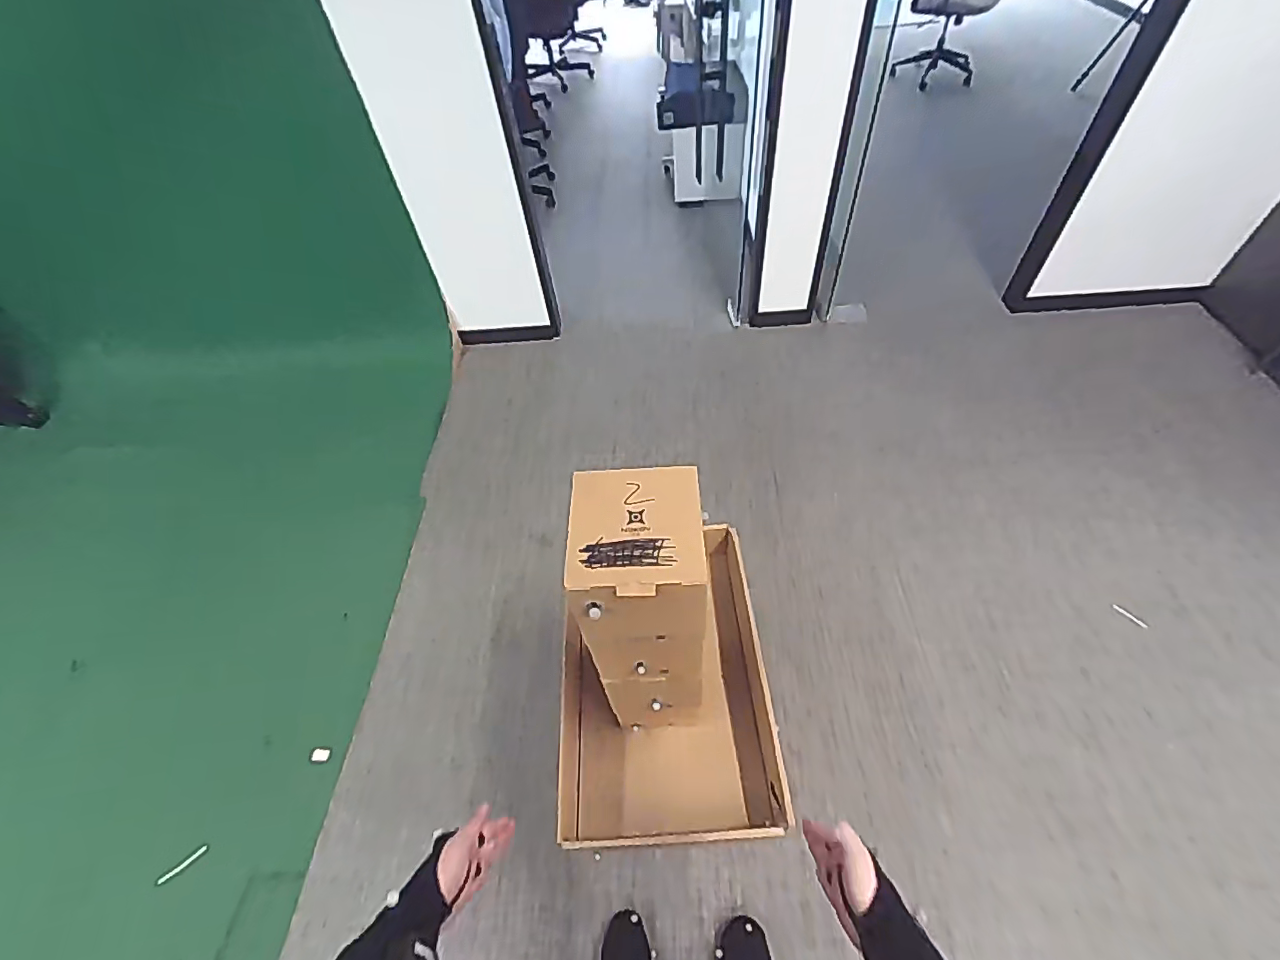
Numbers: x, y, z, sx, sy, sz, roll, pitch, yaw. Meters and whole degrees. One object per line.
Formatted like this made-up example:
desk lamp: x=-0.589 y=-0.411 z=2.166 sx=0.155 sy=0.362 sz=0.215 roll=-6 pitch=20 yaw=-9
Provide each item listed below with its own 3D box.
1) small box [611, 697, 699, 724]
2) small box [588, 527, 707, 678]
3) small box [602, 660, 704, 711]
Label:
small box: x=0.033 y=0.392 z=1.112 sx=0.168 sy=0.176 sz=0.179 roll=-4 pitch=50 yaw=2
small box: x=0.010 y=0.194 z=0.853 sx=0.168 sy=0.176 sz=0.179 roll=-4 pitch=52 yaw=1
small box: x=0.023 y=0.299 z=0.977 sx=0.168 sy=0.176 sz=0.179 roll=-5 pitch=51 yaw=2
